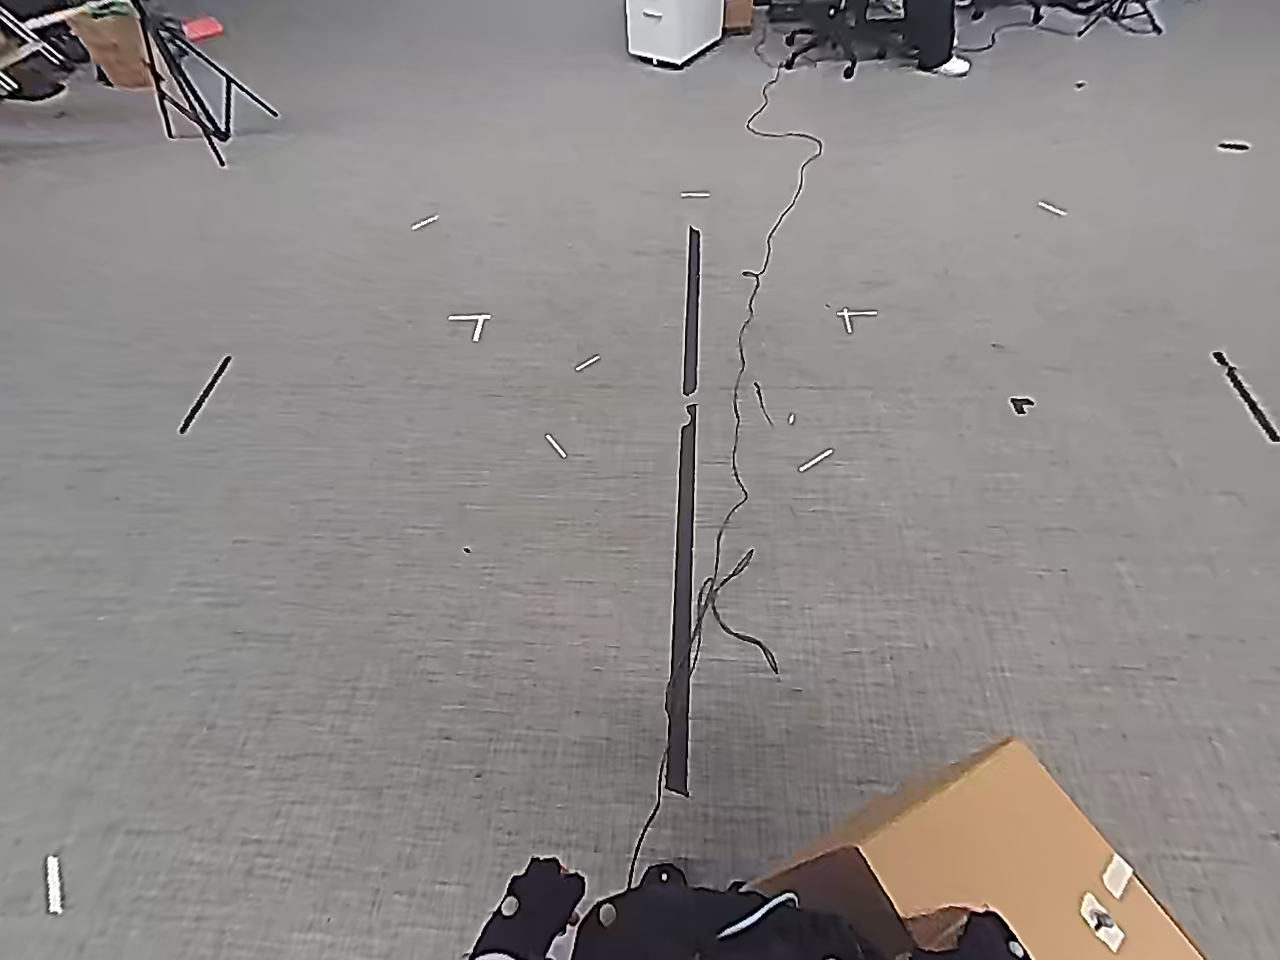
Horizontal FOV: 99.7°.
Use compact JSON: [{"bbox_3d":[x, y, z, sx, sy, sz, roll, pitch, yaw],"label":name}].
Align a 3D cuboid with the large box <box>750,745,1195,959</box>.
[{"bbox_3d":[0.411,0.628,0.735,0.320,0.408,0.320,-13,52,-23],"label":"large box"}]
